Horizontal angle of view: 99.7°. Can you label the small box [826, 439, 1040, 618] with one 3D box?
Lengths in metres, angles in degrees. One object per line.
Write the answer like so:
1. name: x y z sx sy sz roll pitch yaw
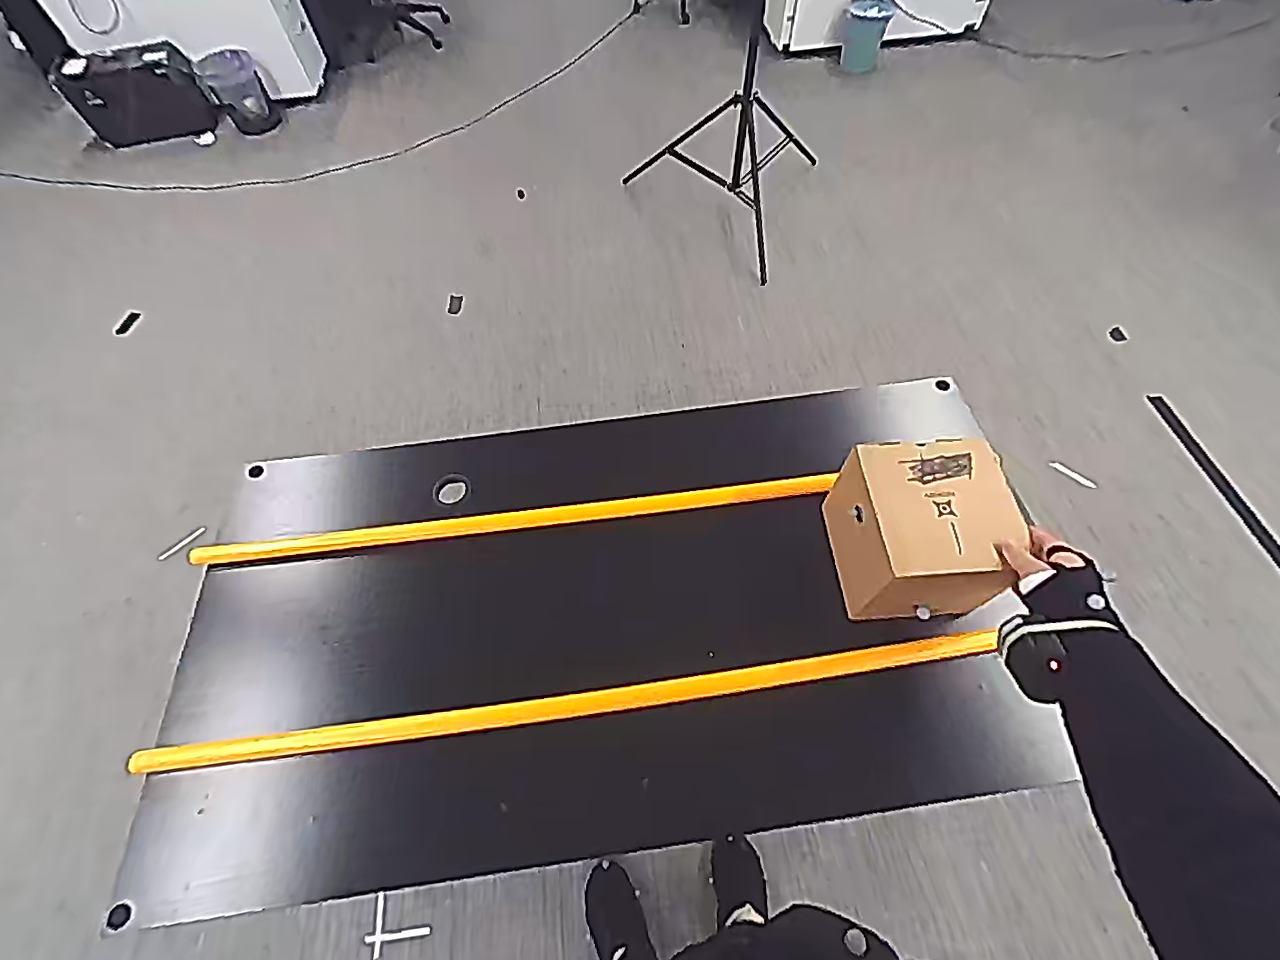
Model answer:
1. small box: 0.356 0.067 0.702 0.168 0.176 0.179 -3 60 1
